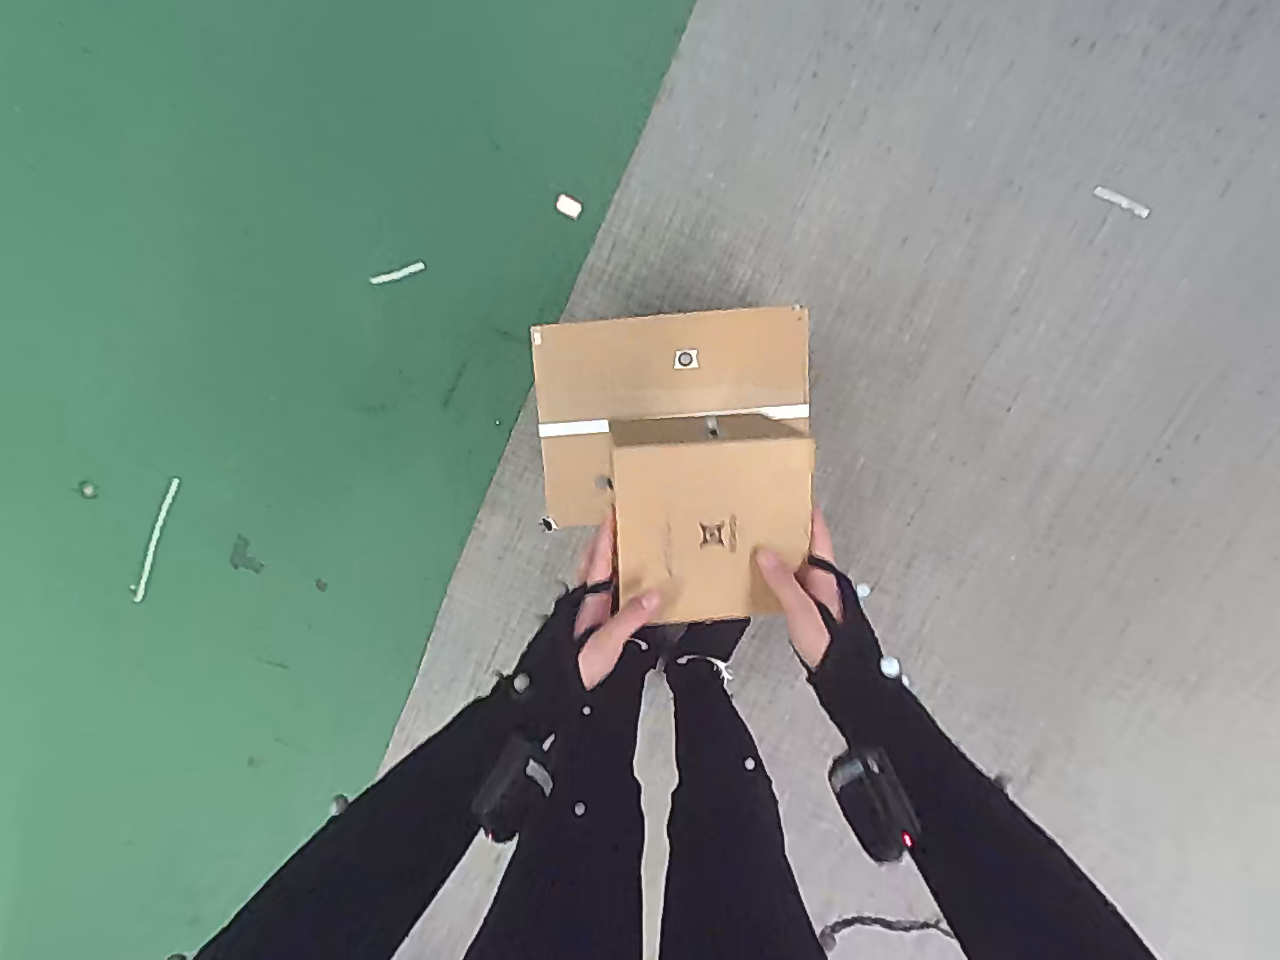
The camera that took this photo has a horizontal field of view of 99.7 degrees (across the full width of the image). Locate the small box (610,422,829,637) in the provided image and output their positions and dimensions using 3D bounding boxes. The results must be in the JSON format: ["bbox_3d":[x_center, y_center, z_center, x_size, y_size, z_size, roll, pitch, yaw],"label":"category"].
[{"bbox_3d":[0.063,0.035,0.536,0.179,0.176,0.168,-2,104,-5],"label":"small box"}]
